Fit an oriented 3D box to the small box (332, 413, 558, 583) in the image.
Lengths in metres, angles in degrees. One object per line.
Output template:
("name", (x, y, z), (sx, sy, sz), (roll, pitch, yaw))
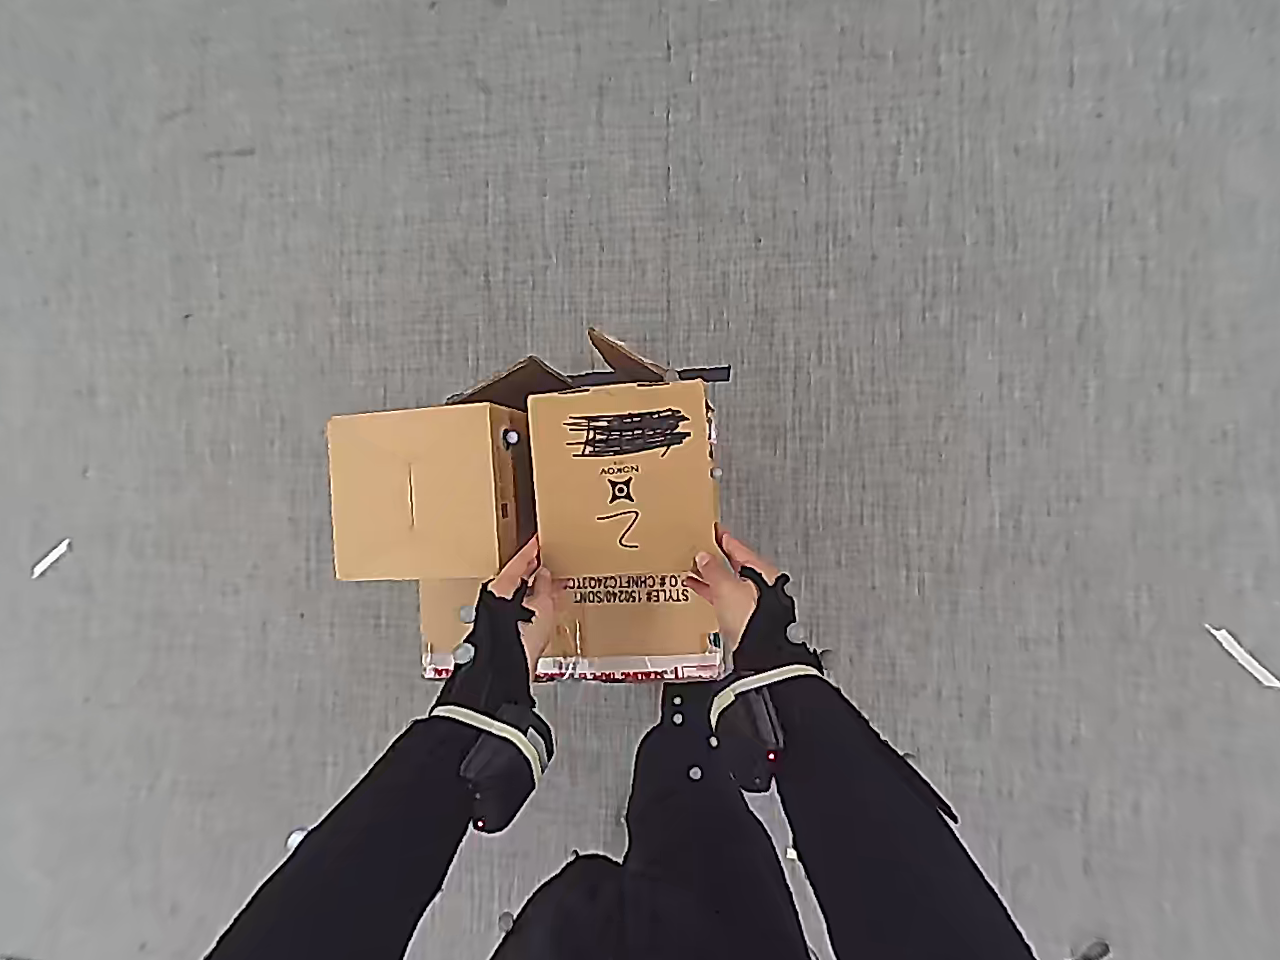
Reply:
("small box", (-0.206, 0.018, 0.608), (0.179, 0.176, 0.168), (-3, 90, 9))
